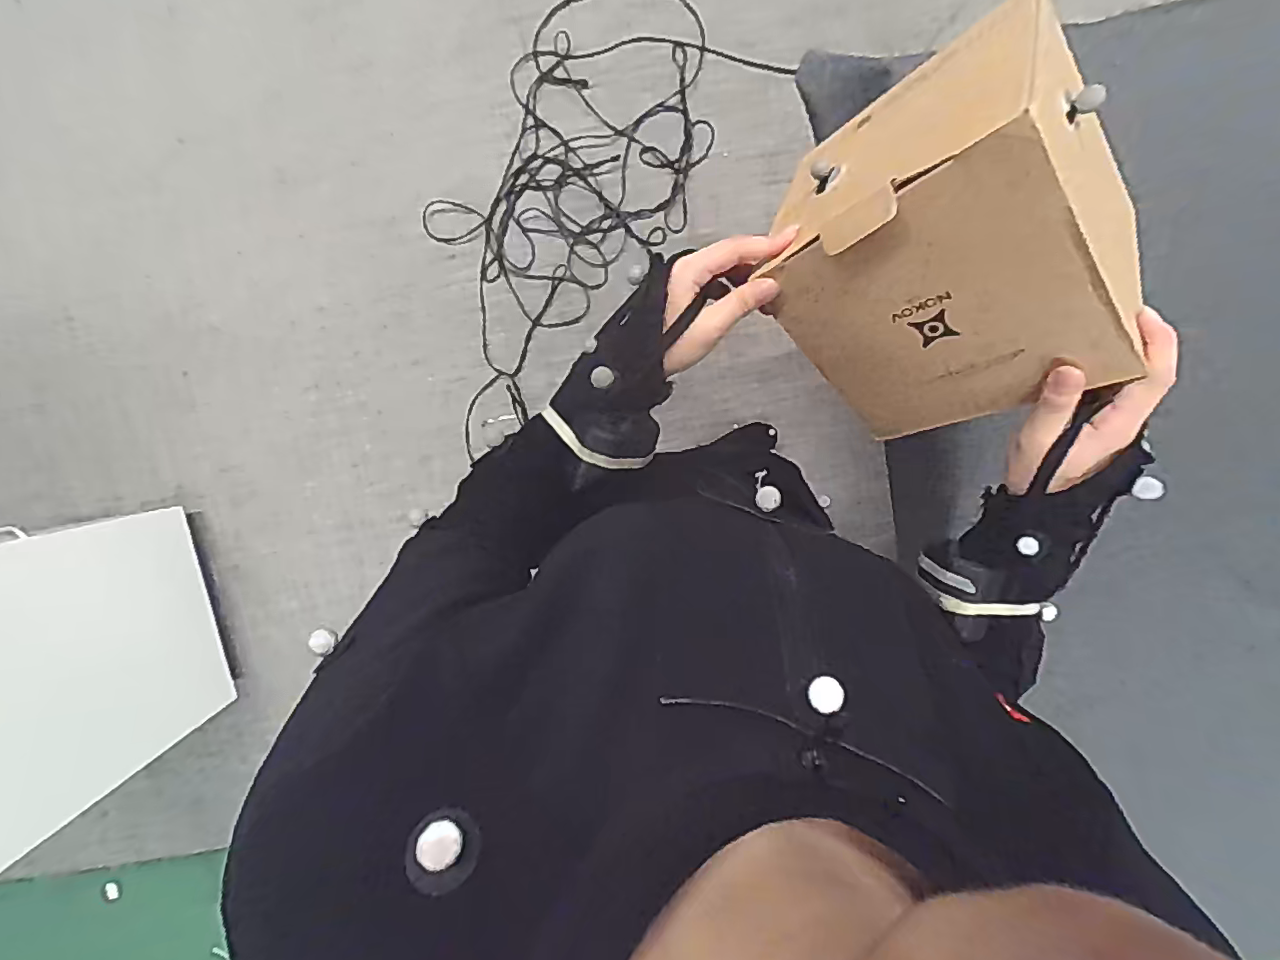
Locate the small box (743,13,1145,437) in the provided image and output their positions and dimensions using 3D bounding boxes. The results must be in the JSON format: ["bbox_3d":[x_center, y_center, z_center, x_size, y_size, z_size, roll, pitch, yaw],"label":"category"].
[{"bbox_3d":[0.204,-0.162,0.369,0.179,0.168,0.176,37,61,-24],"label":"small box"}]
